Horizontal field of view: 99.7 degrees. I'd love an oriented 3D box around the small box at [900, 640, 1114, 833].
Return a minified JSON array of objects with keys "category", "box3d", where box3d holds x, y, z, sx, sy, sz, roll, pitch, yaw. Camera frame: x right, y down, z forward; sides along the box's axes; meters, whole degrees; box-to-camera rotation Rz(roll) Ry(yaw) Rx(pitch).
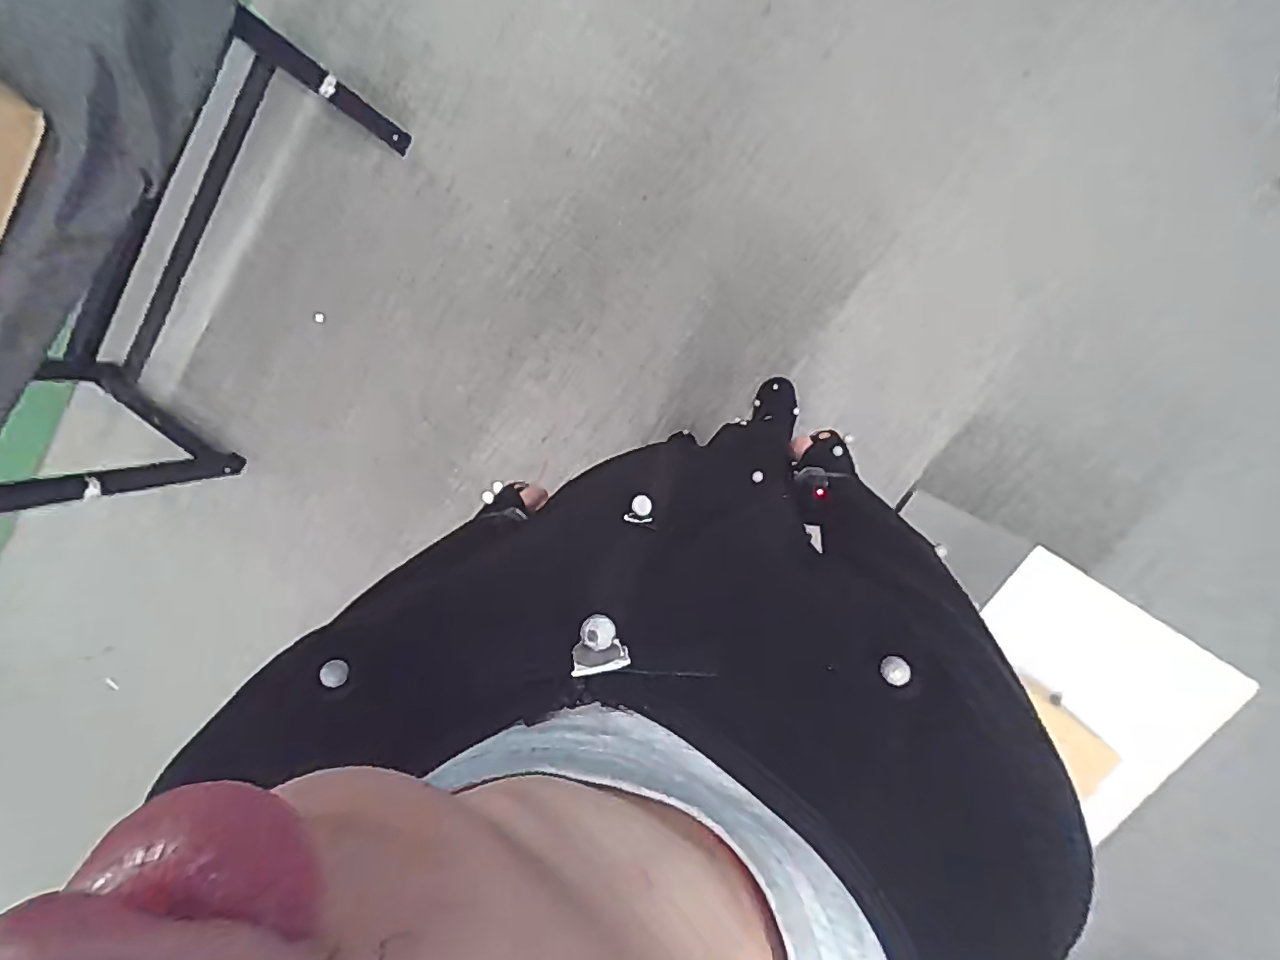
[{"category":"small box","box3d":[0.548,0.382,0.837,0.179,0.176,0.168,34,102,1]}]
